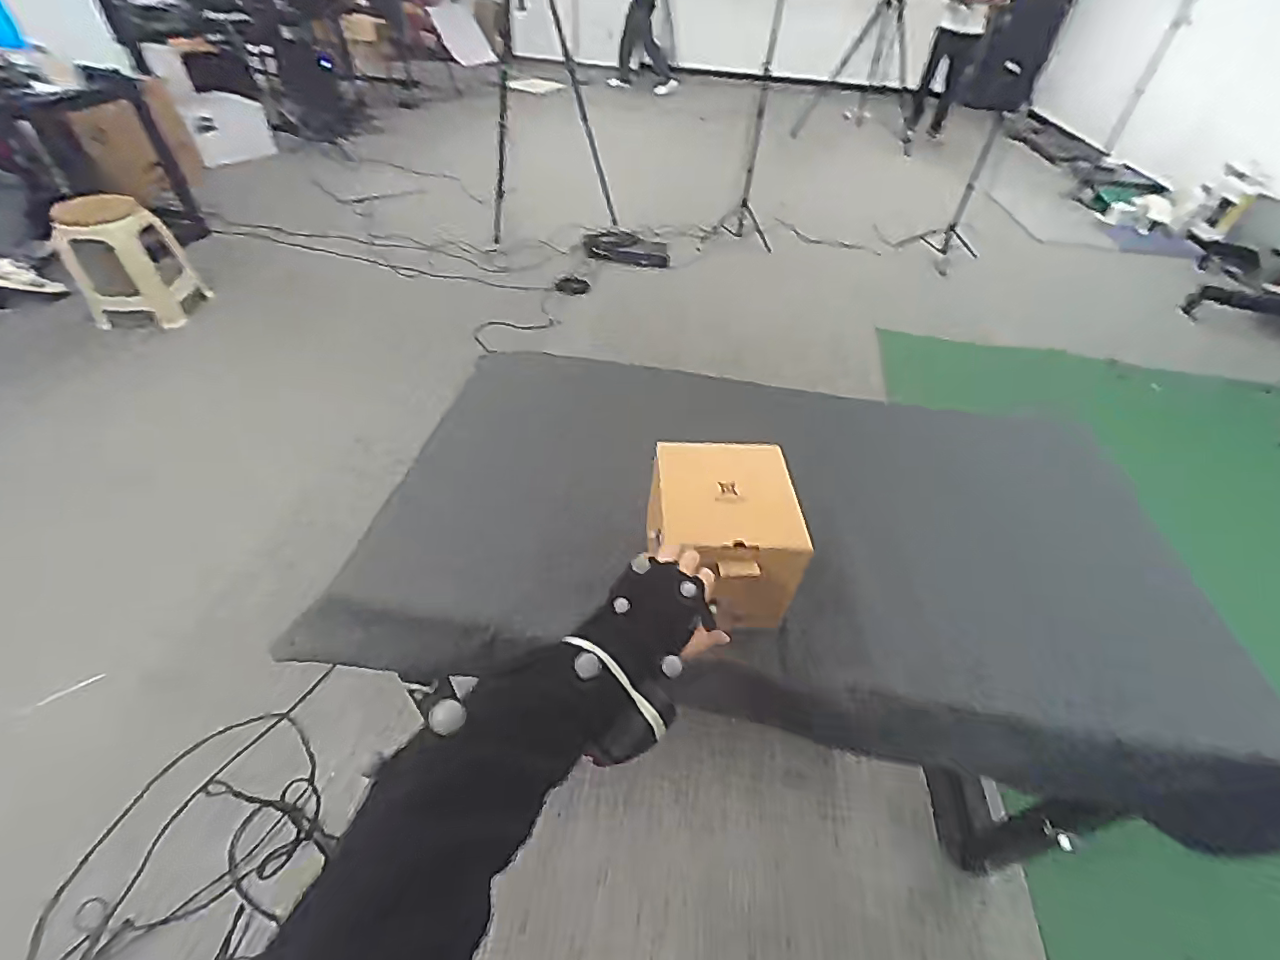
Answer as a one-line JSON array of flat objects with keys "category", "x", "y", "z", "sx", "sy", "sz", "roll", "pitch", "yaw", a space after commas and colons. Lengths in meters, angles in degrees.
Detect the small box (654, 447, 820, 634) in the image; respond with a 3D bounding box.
[{"category": "small box", "x": 0.109, "y": 0.078, "z": 0.705, "sx": 0.168, "sy": 0.176, "sz": 0.179, "roll": 2, "pitch": 44, "yaw": -4}]
